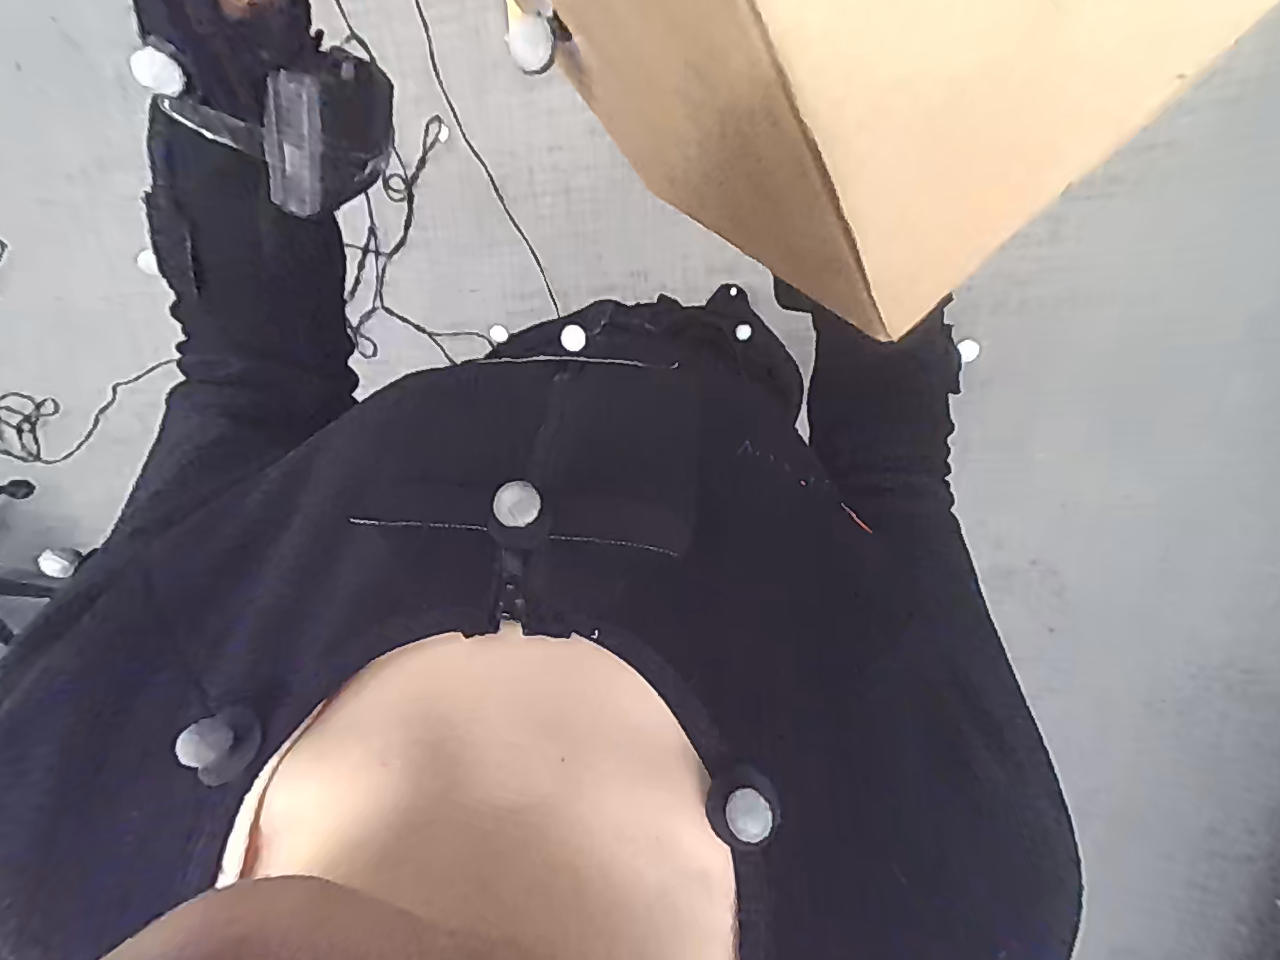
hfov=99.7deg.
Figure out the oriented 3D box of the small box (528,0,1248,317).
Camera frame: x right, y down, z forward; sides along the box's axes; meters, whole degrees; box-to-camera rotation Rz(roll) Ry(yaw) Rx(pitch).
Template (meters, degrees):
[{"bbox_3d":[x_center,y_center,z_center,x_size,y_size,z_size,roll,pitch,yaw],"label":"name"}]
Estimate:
[{"bbox_3d":[0.050,-0.185,0.136,0.168,0.176,0.179,-43,137,11],"label":"small box"}]
